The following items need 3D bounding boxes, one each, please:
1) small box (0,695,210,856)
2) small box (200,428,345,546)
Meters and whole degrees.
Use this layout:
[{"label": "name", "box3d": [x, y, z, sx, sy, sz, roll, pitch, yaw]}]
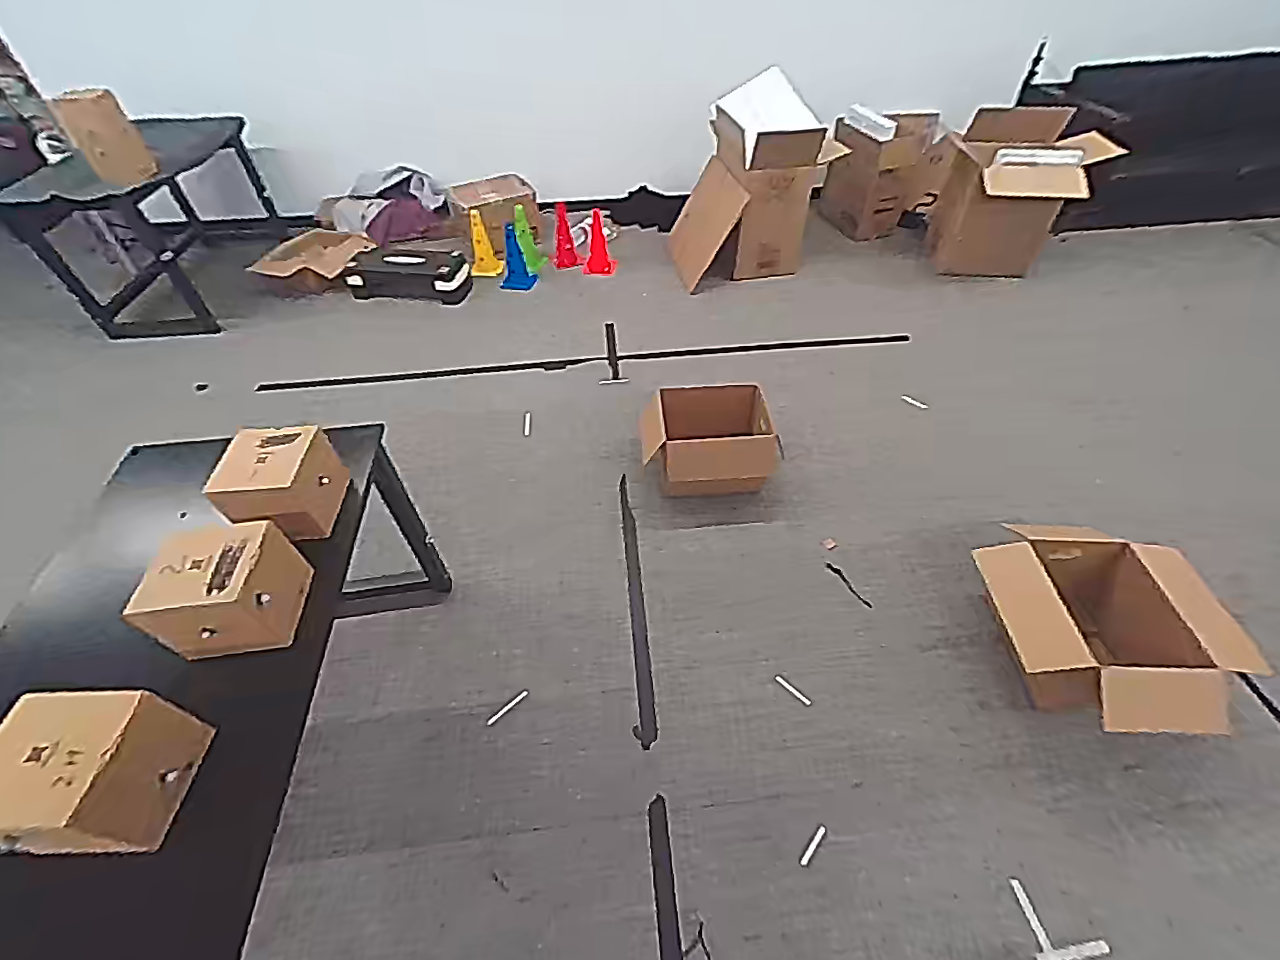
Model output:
[{"label": "small box", "box3d": [-0.773, 0.417, 0.758, 0.179, 0.176, 0.168, -2, 48, 0]}, {"label": "small box", "box3d": [-0.745, 0.015, 1.123, 0.168, 0.176, 0.179, -5, 49, -2]}]
